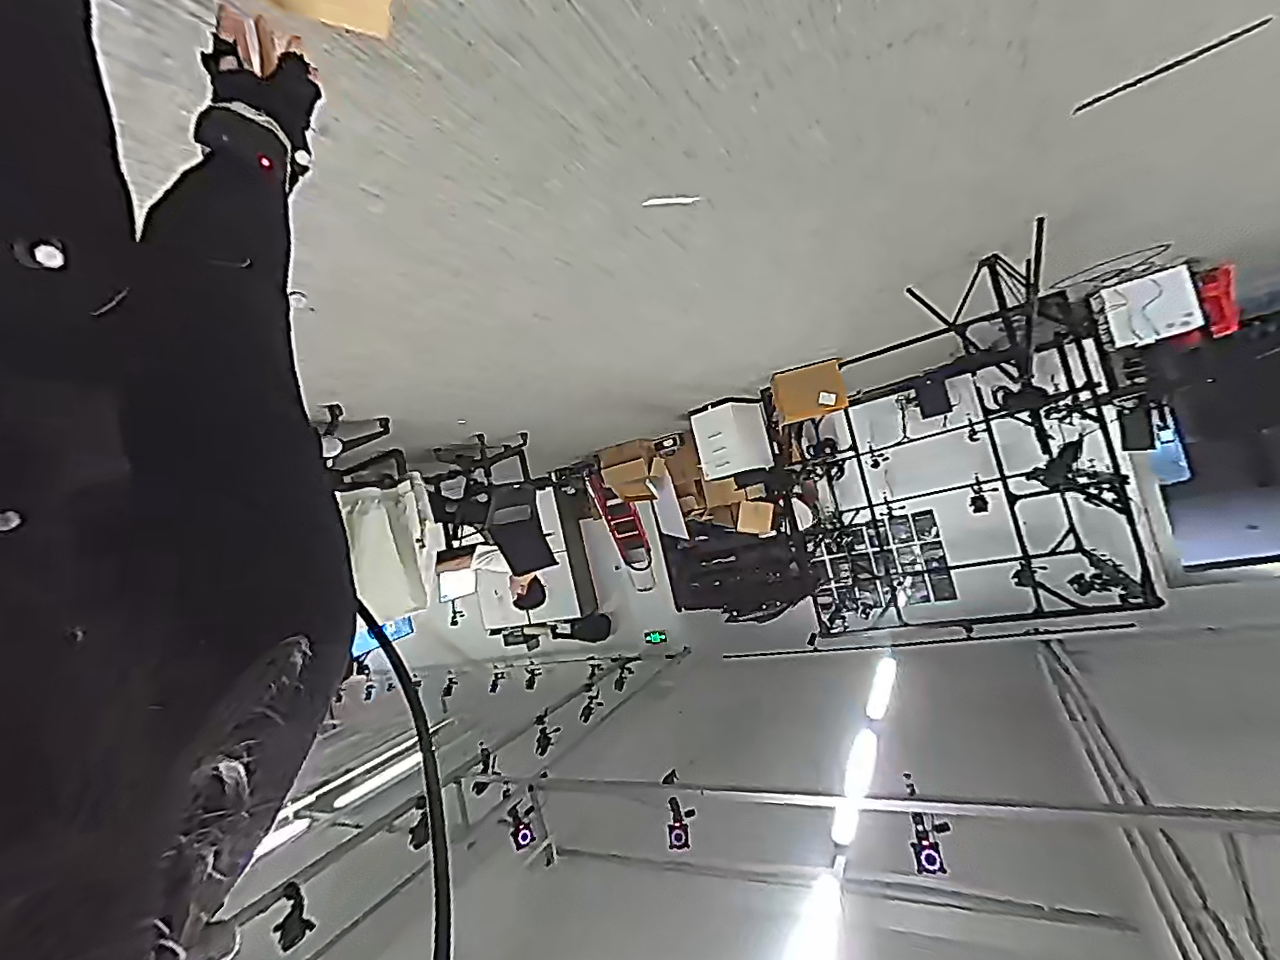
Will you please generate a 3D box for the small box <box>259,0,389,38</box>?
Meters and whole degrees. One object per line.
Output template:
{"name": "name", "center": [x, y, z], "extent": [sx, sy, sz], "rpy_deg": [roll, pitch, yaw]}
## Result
{"name": "small box", "center": [-0.334, -0.594, 0.515], "extent": [0.168, 0.176, 0.179], "rpy_deg": [-8, 174, -36]}
